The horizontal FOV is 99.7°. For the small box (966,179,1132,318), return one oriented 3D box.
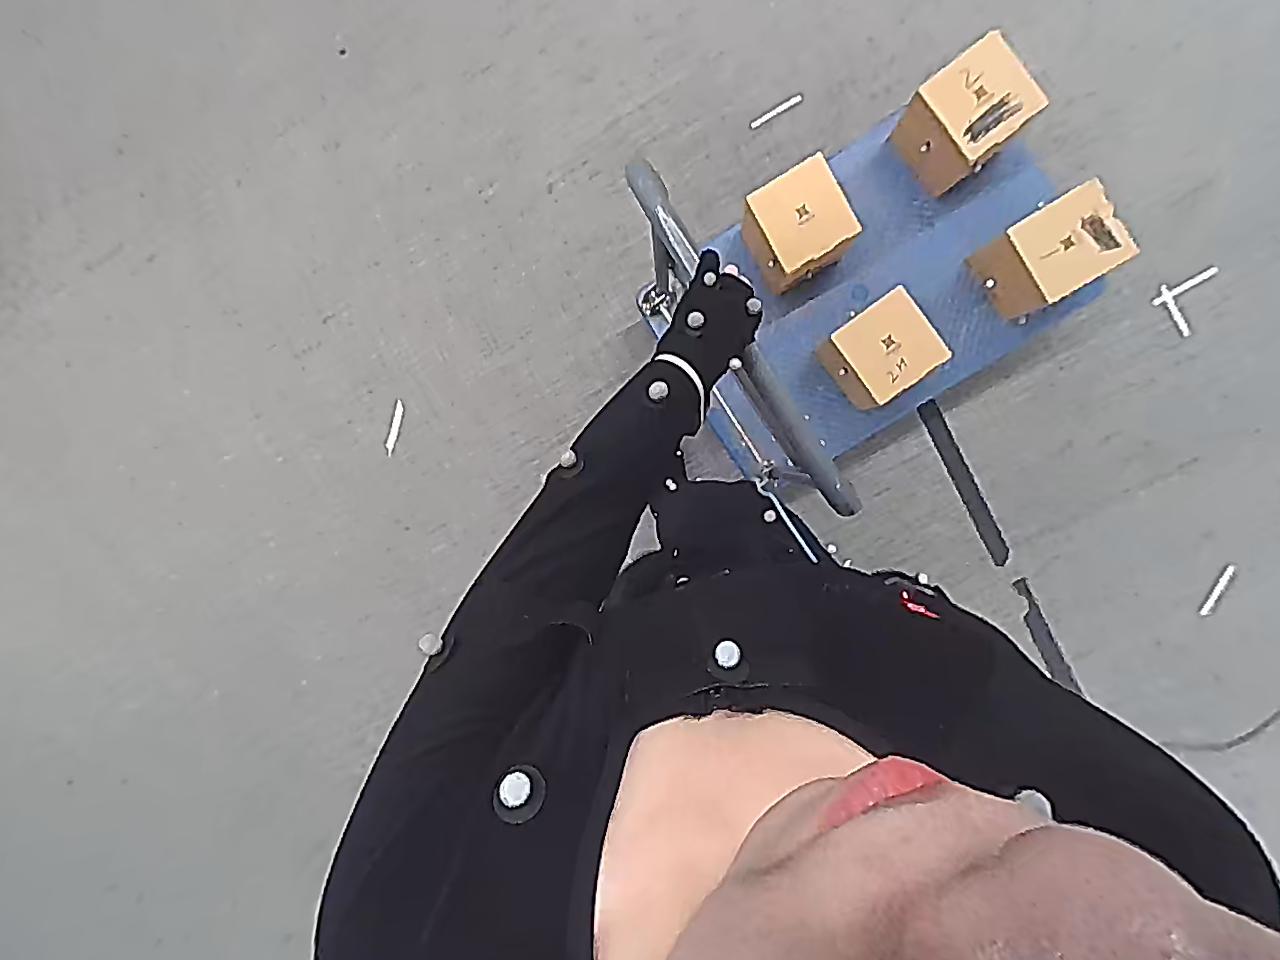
[{"bbox_3d":[0.811,-0.454,1.091,0.179,0.176,0.168,-30,91,9],"label":"small box"}]

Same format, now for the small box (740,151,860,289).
[{"bbox_3d":[0.325,-0.534,1.138,0.168,0.176,0.179,-29,93,8],"label":"small box"}]

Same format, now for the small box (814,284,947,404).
[{"bbox_3d":[0.494,-0.275,1.142,0.168,0.176,0.179,-35,91,8],"label":"small box"}]
